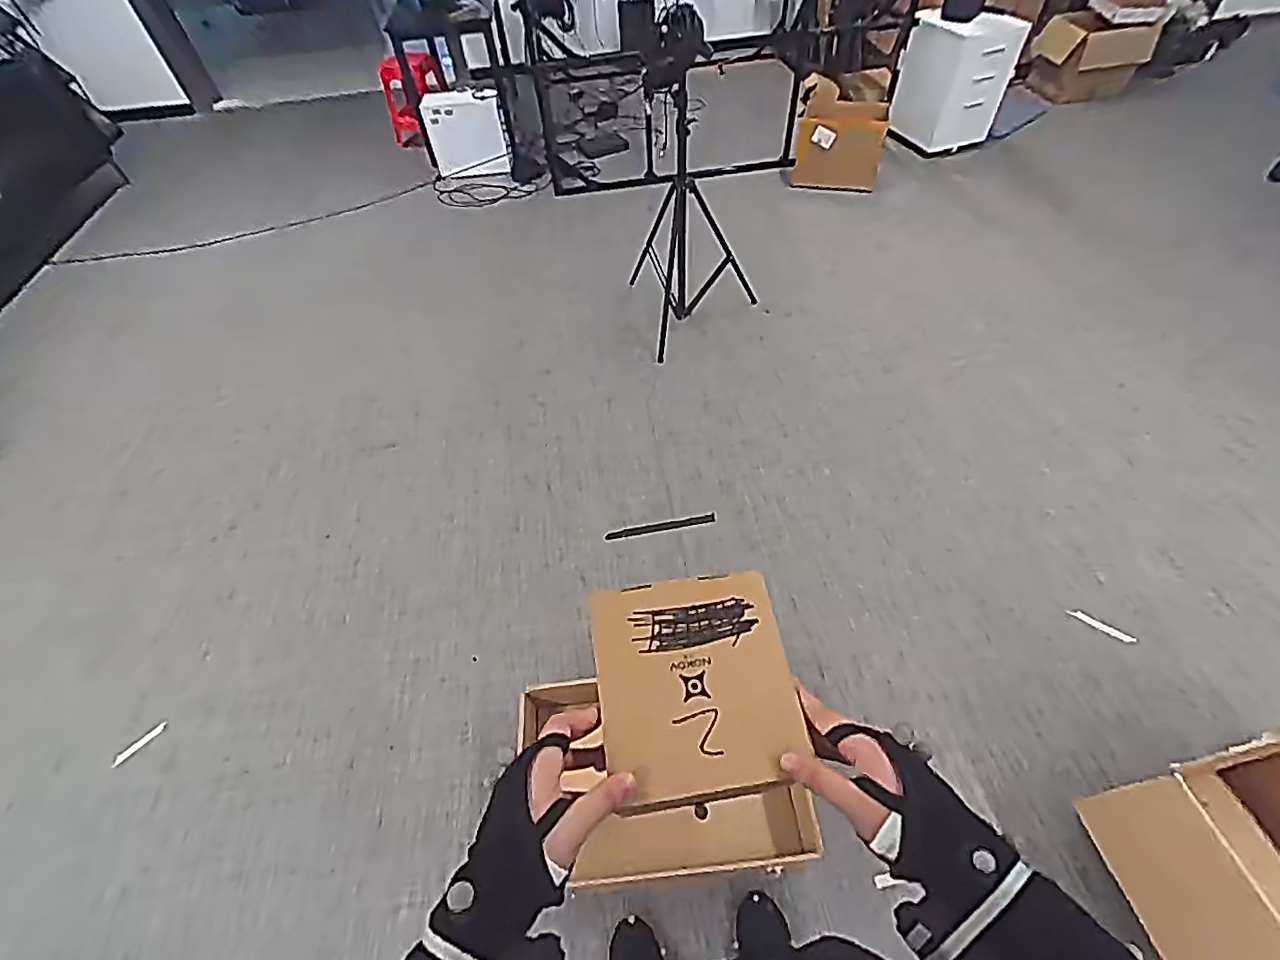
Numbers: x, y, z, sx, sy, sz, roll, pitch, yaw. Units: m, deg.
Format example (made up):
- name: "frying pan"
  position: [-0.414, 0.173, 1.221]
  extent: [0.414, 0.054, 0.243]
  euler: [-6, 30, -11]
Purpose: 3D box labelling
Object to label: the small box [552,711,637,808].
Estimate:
- name: "small box"
  position: [-0.101, 0.643, 1.239]
  extent: [0.179, 0.176, 0.168]
  euler: [-5, 54, -2]
